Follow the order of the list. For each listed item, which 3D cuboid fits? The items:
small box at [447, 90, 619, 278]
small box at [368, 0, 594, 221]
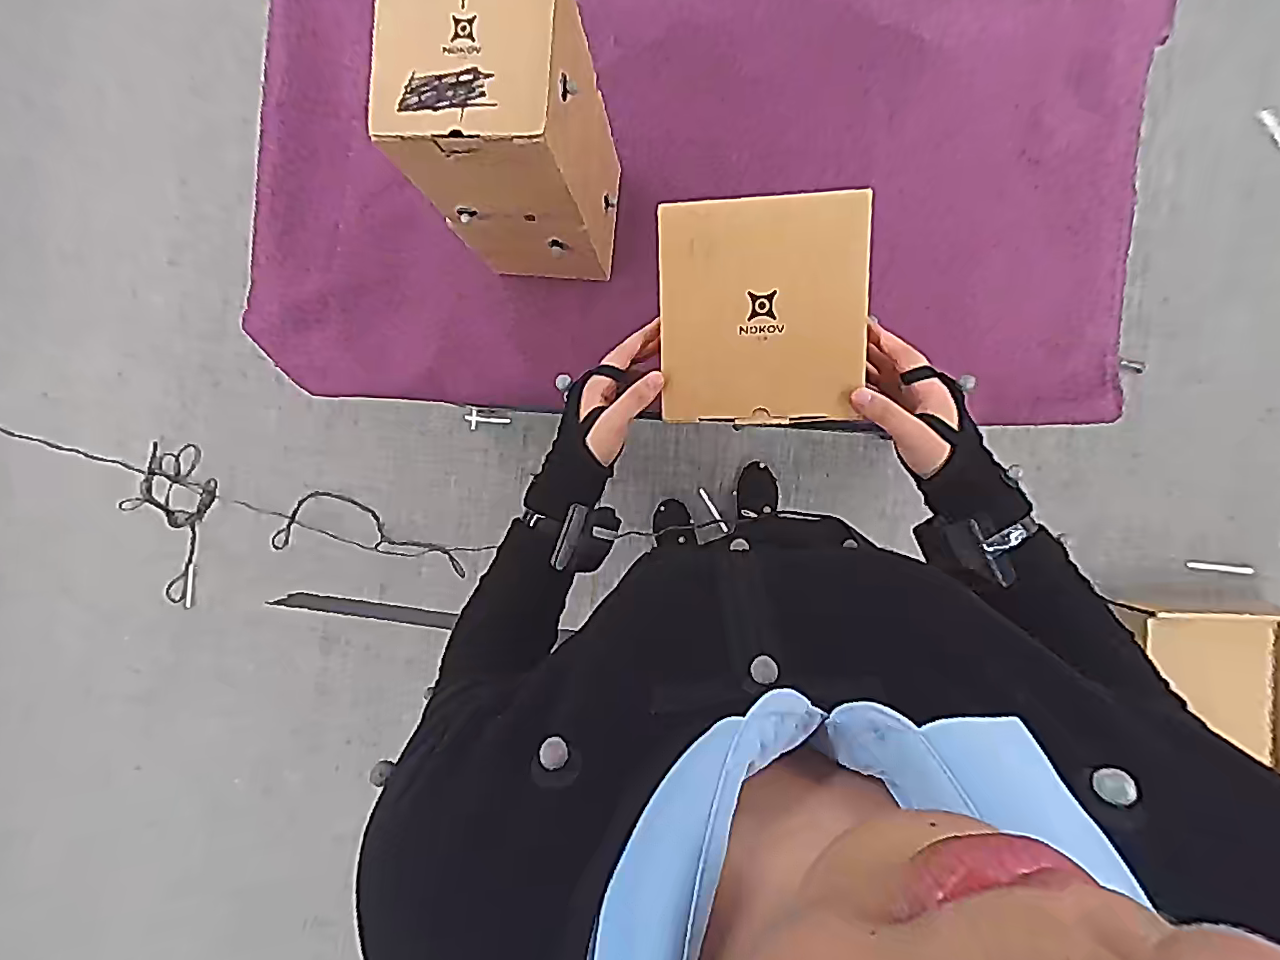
[{"bbox_3d":[-0.129,-0.379,0.713,0.179,0.176,0.168,6,91,6],"label":"small box"},{"bbox_3d":[-0.146,-0.385,0.549,0.168,0.176,0.179,4,90,6],"label":"small box"}]
